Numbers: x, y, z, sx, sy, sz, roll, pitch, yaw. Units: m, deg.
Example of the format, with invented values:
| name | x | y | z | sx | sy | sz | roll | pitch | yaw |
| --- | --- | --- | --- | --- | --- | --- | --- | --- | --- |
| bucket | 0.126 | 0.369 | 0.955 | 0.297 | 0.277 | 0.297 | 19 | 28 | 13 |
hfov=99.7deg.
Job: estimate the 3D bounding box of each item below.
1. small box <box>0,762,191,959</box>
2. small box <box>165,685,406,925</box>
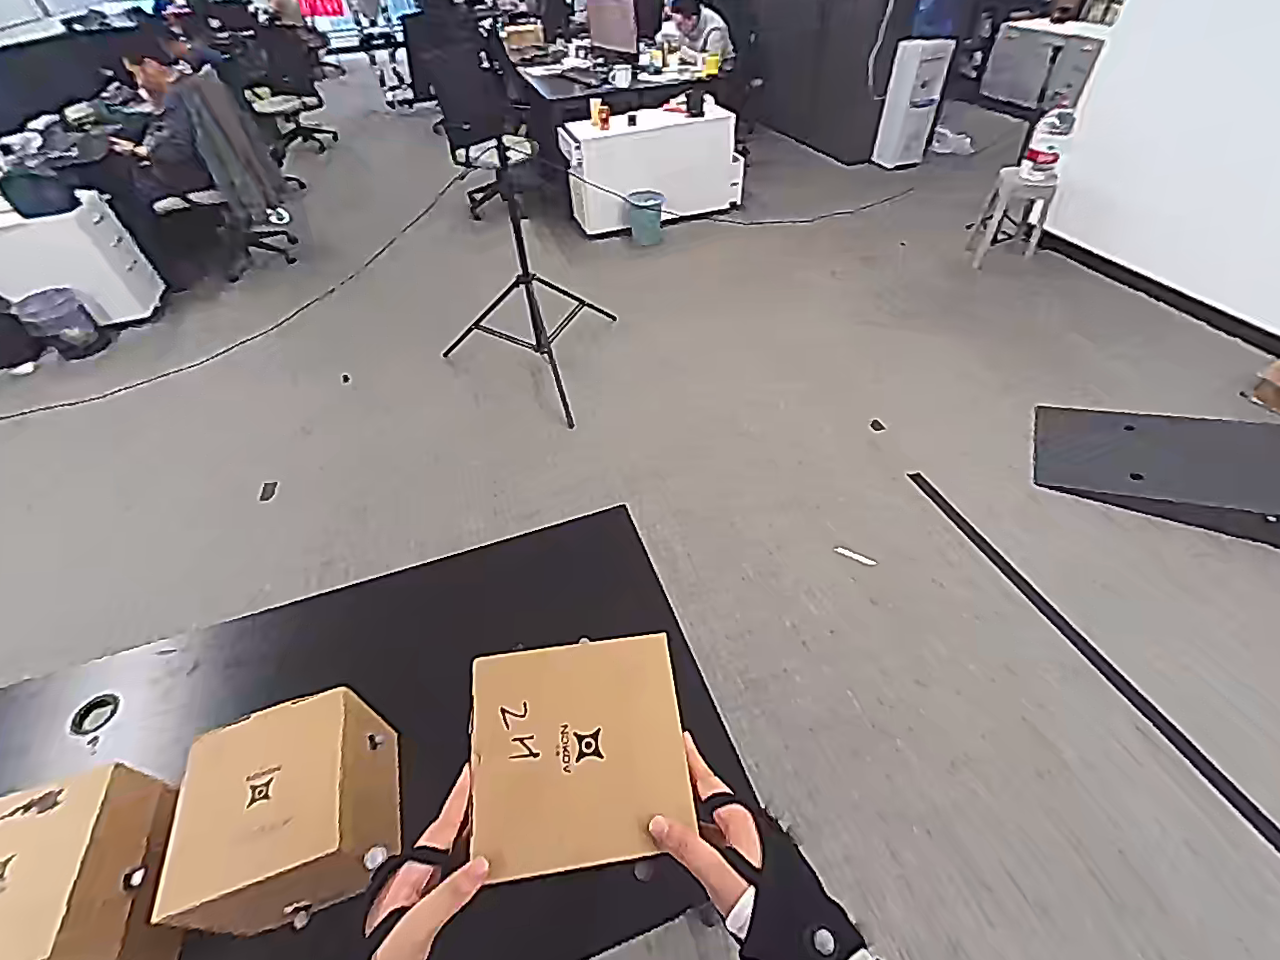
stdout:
| name | x | y | z | sx | sy | sz | roll | pitch | yaw |
| --- | --- | --- | --- | --- | --- | --- | --- | --- | --- |
| small box | -0.613 | 0.442 | 0.580 | 0.168 | 0.176 | 0.179 | -15 | 48 | -12 |
| small box | -0.388 | 0.378 | 0.630 | 0.168 | 0.176 | 0.179 | -17 | 49 | -11 |
